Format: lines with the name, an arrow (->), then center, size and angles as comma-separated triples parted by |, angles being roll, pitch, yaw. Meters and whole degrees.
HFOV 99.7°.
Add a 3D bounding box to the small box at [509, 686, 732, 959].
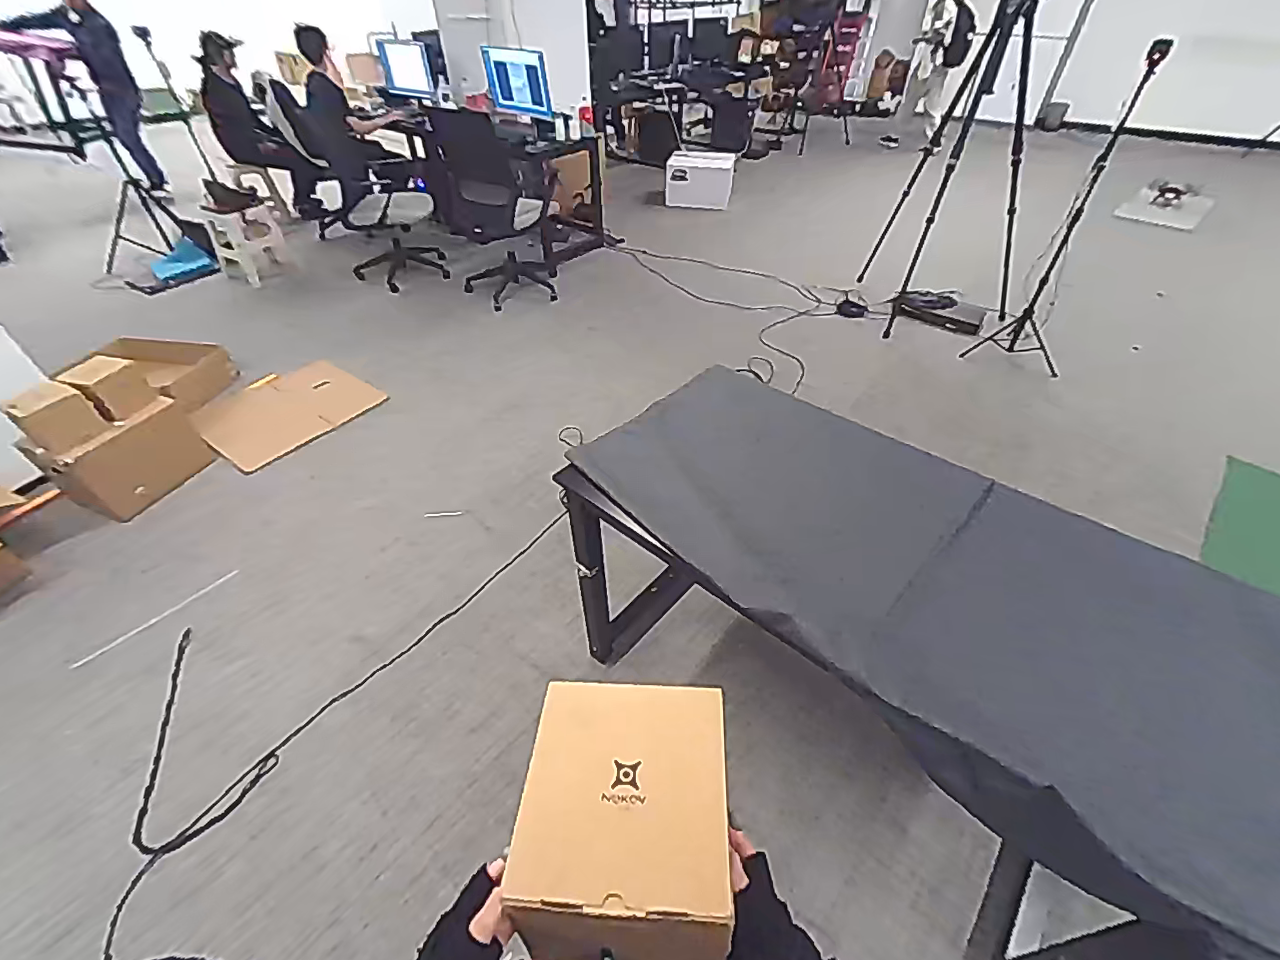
small box -> -0.006, 0.319, 0.501 | 0.168, 0.176, 0.179 | 1, 38, 5
